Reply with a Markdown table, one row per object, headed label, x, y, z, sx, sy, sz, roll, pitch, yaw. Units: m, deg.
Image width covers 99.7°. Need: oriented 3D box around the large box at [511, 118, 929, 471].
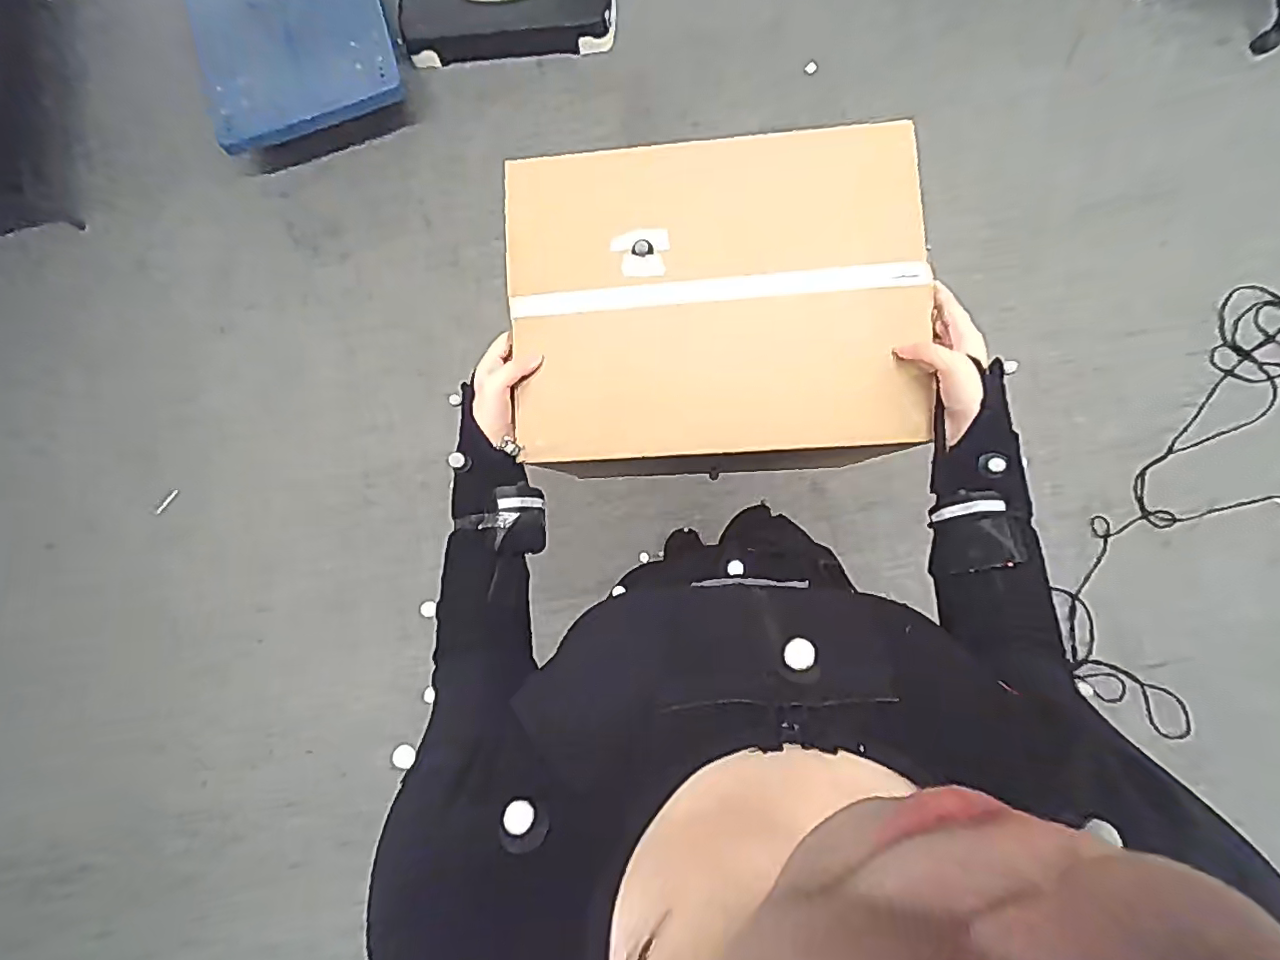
| label | x | y | z | sx | sy | sz | roll | pitch | yaw |
| --- | --- | --- | --- | --- | --- | --- | --- | --- | --- |
| large box | 0.088 | -0.183 | 0.689 | 0.408 | 0.320 | 0.320 | -4 | 86 | 7 |
